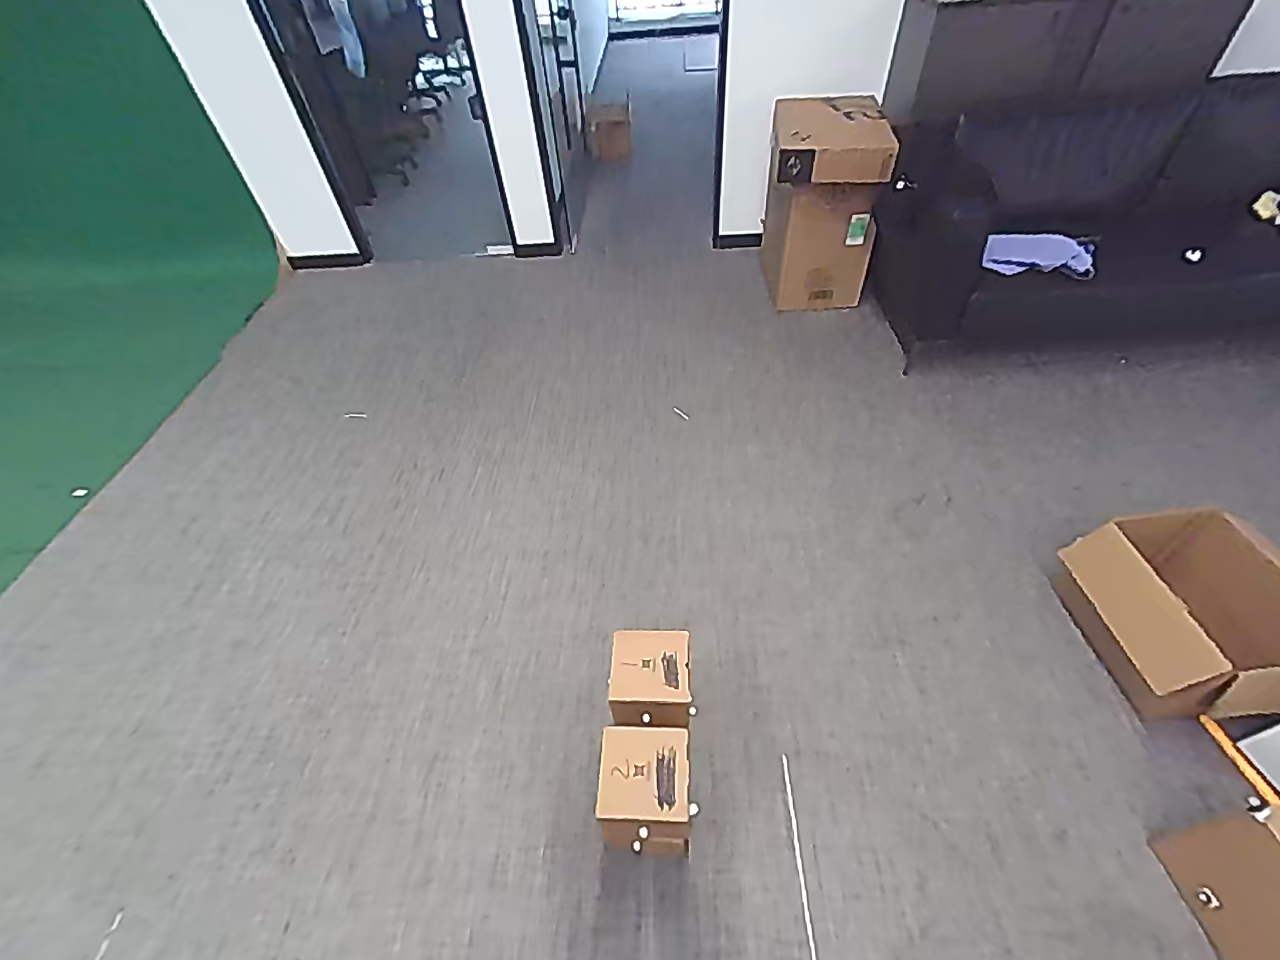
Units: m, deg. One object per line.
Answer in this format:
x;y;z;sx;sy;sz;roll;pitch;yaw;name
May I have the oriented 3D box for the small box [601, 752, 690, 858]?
0.019;0.736;1.220;0.179;0.176;0.168;3;48;7;small box
